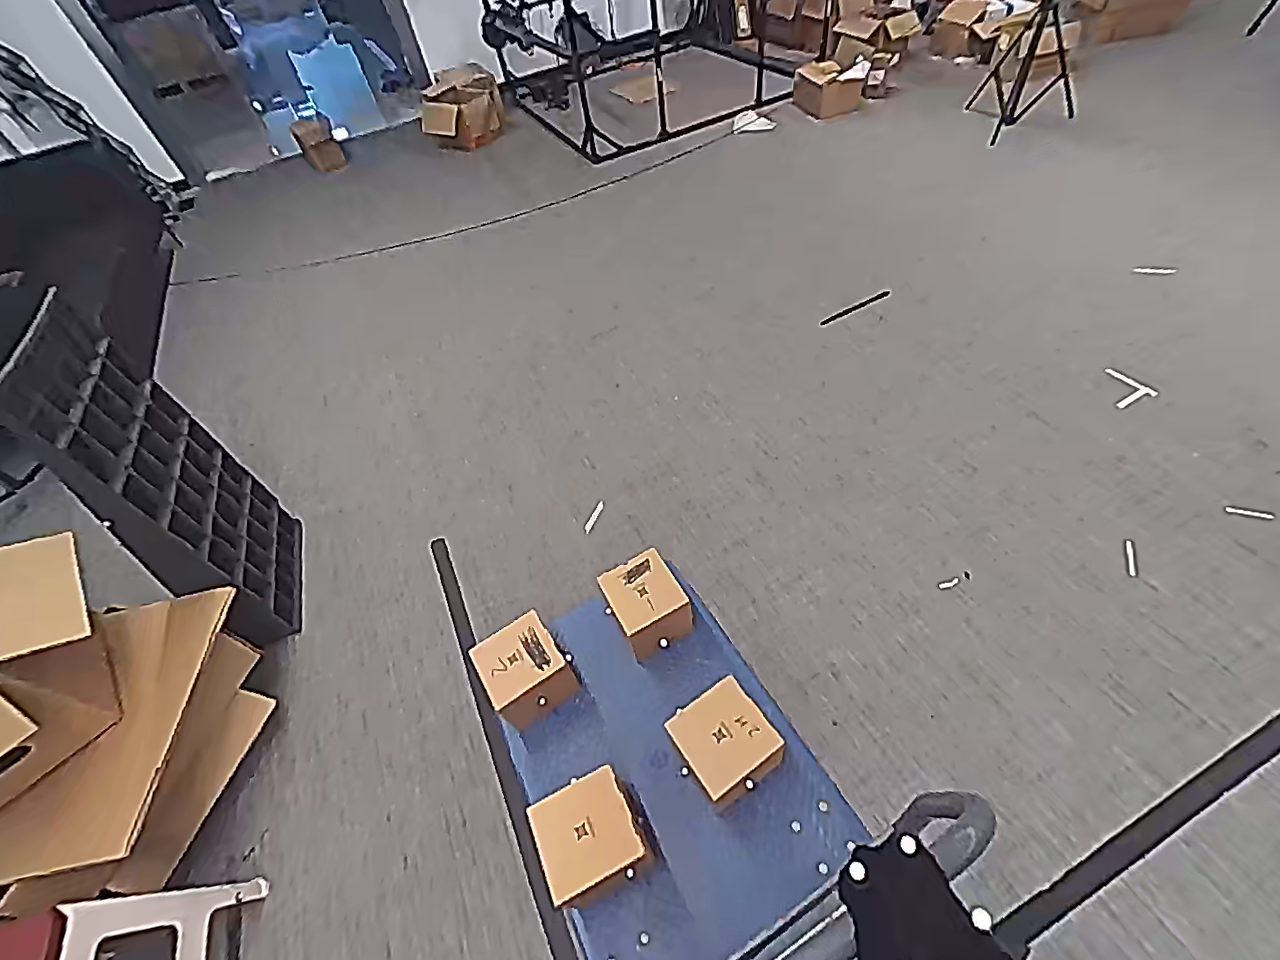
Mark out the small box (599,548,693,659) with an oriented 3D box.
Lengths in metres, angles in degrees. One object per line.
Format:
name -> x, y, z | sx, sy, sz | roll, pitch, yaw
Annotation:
small box -> 0.018, 0.308, 1.338 | 0.168, 0.176, 0.179 | -27, 53, -12

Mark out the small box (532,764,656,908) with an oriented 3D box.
small box -> -0.084, 0.690, 1.044 | 0.179, 0.176, 0.168 | -24, 50, -12

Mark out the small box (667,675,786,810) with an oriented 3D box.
small box -> 0.179, 0.546, 1.116 | 0.179, 0.176, 0.168 | -31, 53, -15
